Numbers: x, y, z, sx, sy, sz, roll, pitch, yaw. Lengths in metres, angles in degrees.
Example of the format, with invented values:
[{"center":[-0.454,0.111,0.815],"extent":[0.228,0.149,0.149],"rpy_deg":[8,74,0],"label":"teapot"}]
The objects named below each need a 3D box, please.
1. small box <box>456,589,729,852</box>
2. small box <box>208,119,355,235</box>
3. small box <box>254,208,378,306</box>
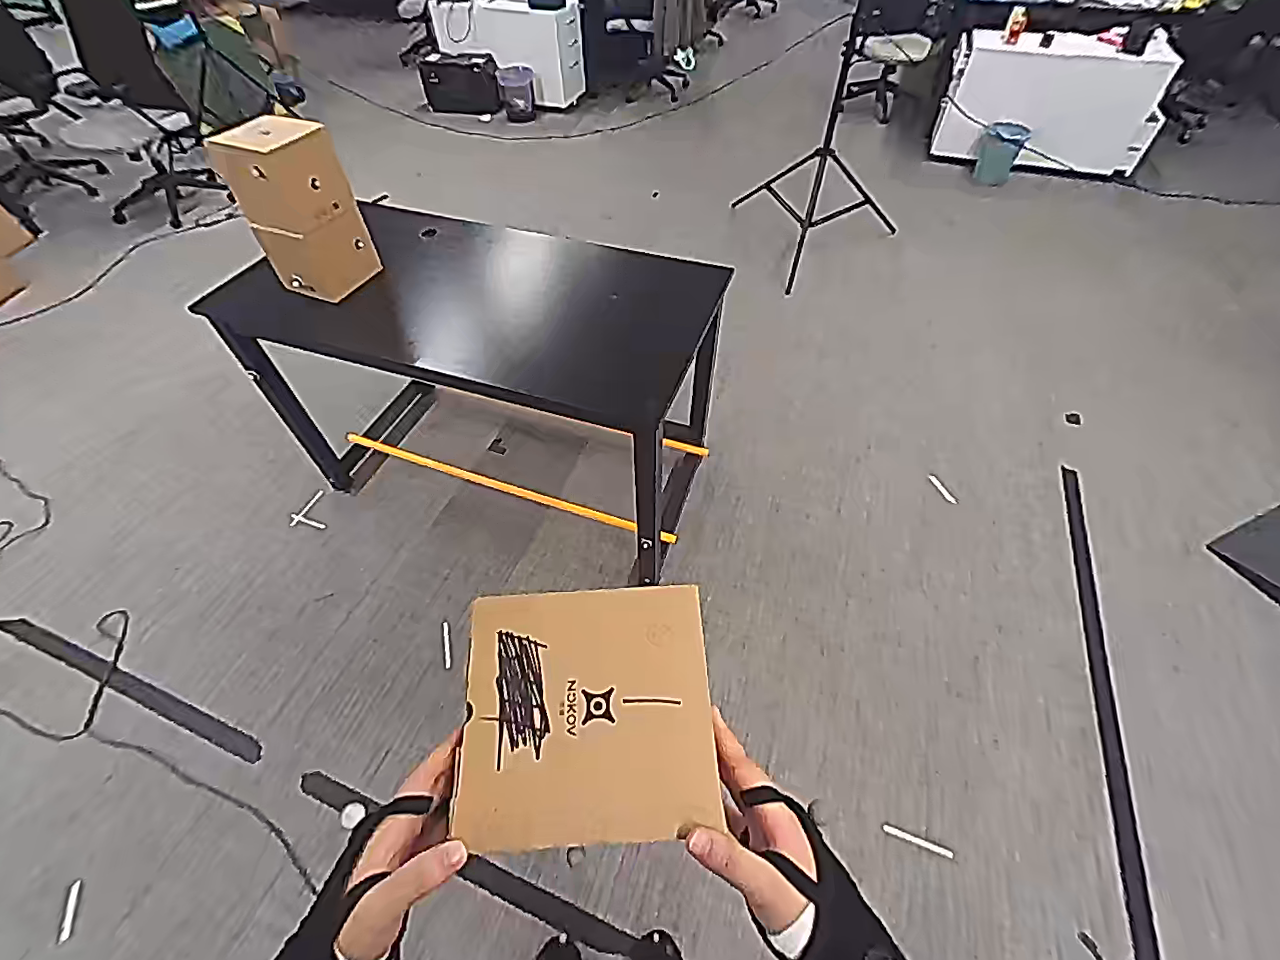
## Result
[{"center":[-0.031,0.199,0.446],"extent":[0.179,0.176,0.168],"rpy_deg":[-3,60,-1],"label":"small box"},{"center":[-0.776,-0.665,1.193],"extent":[0.179,0.176,0.168],"rpy_deg":[17,53,15],"label":"small box"},{"center":[-0.772,-0.555,1.317],"extent":[0.168,0.176,0.179],"rpy_deg":[17,54,15],"label":"small box"}]
